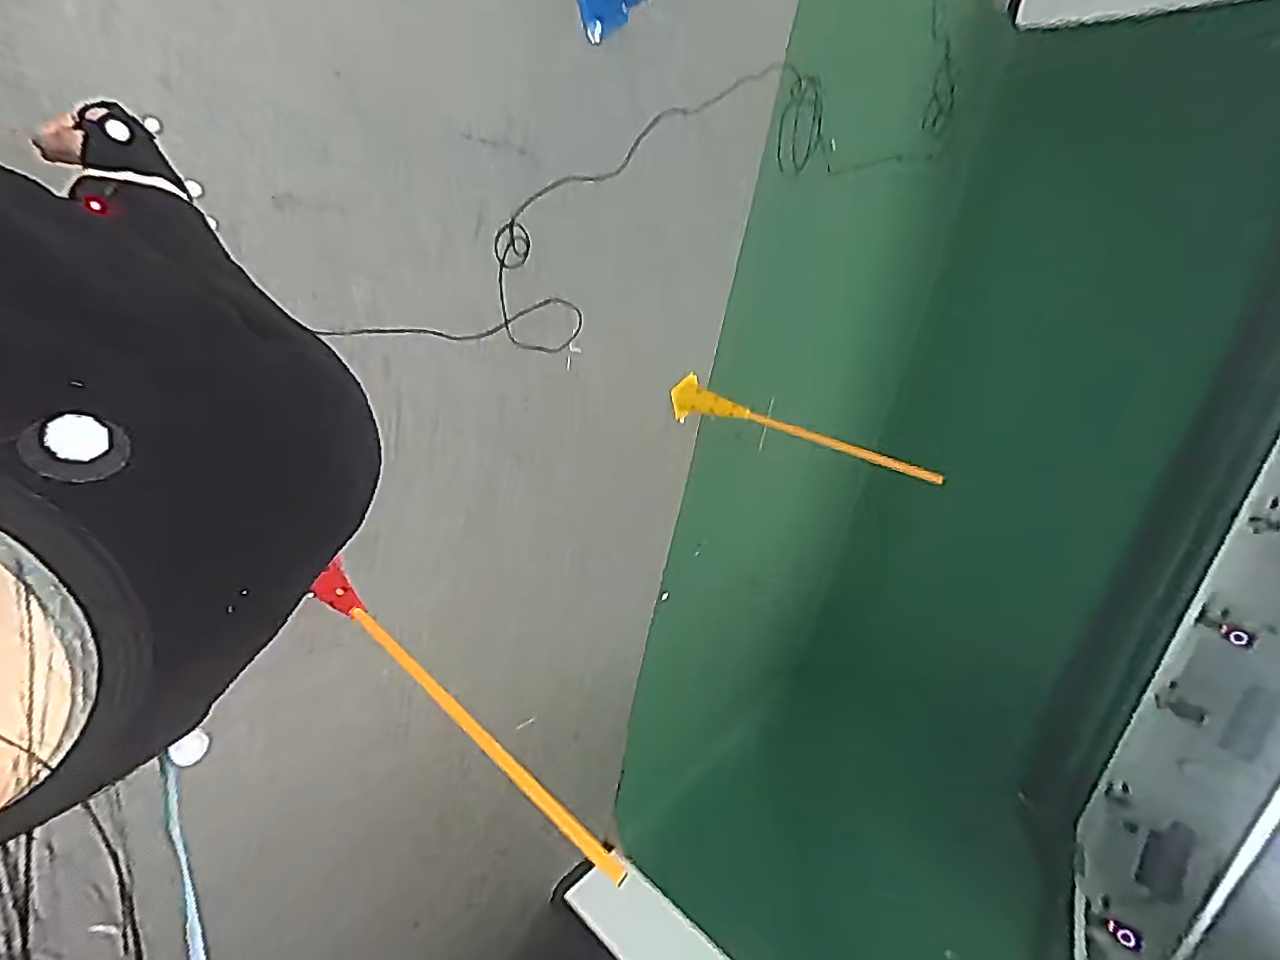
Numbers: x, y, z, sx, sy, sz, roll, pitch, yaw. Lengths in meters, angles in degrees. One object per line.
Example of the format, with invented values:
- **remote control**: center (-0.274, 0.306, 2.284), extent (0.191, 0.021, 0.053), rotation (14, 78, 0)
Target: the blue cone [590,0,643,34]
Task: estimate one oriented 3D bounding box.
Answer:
- **blue cone**: center (0.025, -1.426, 1.520), extent (0.192, 0.380, 0.193), rotation (-49, 139, -21)
